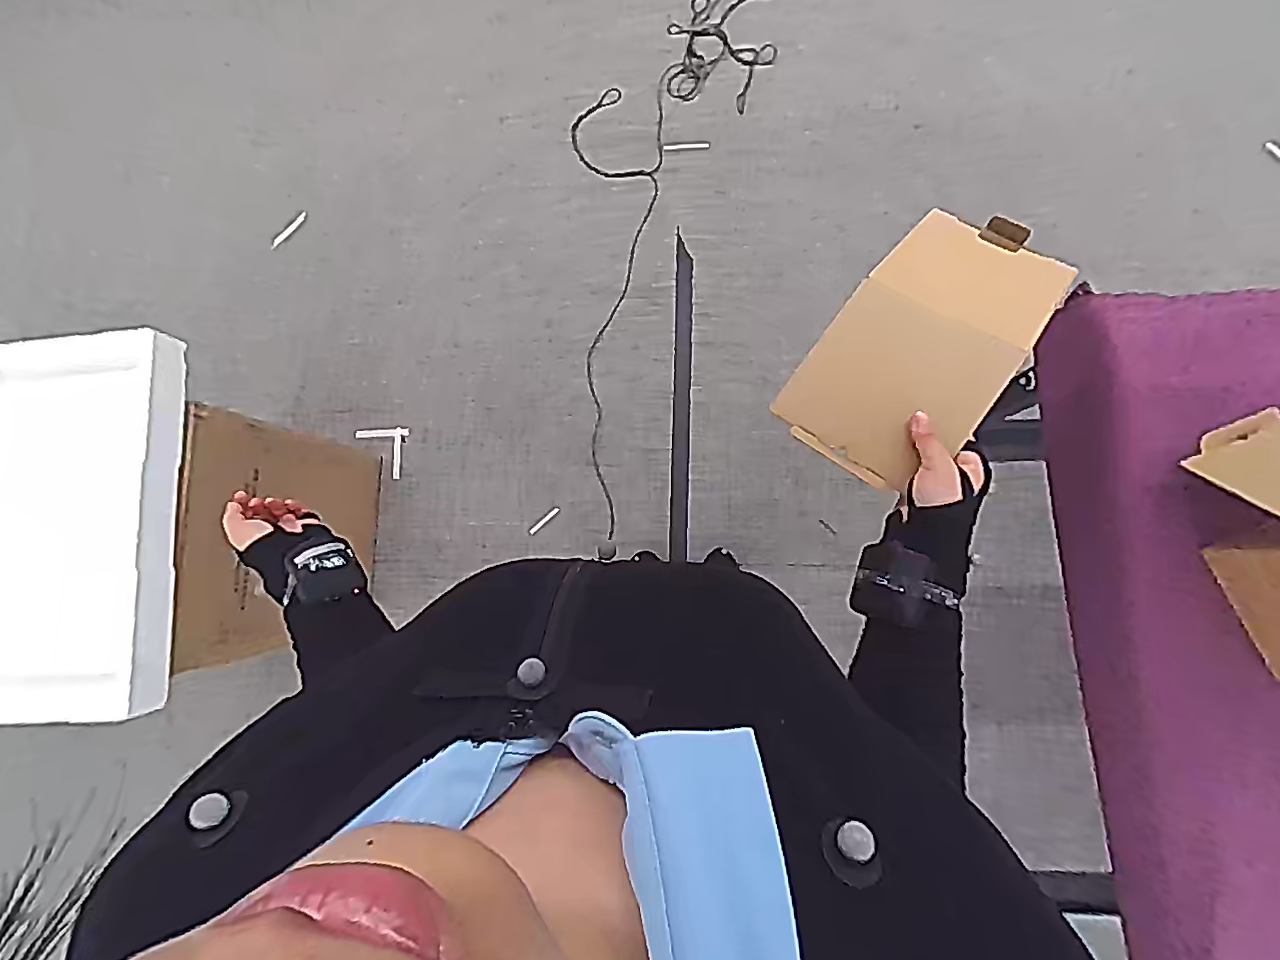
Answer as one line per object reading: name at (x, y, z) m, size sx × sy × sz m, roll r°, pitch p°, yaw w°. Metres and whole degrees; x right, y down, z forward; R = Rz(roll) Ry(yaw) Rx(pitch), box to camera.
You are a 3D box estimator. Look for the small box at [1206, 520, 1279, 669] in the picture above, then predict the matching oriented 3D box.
small box at (0.814, 0.123, 0.600) m, size 0.168 × 0.176 × 0.179 m, roll -23°, pitch 81°, yaw 4°
